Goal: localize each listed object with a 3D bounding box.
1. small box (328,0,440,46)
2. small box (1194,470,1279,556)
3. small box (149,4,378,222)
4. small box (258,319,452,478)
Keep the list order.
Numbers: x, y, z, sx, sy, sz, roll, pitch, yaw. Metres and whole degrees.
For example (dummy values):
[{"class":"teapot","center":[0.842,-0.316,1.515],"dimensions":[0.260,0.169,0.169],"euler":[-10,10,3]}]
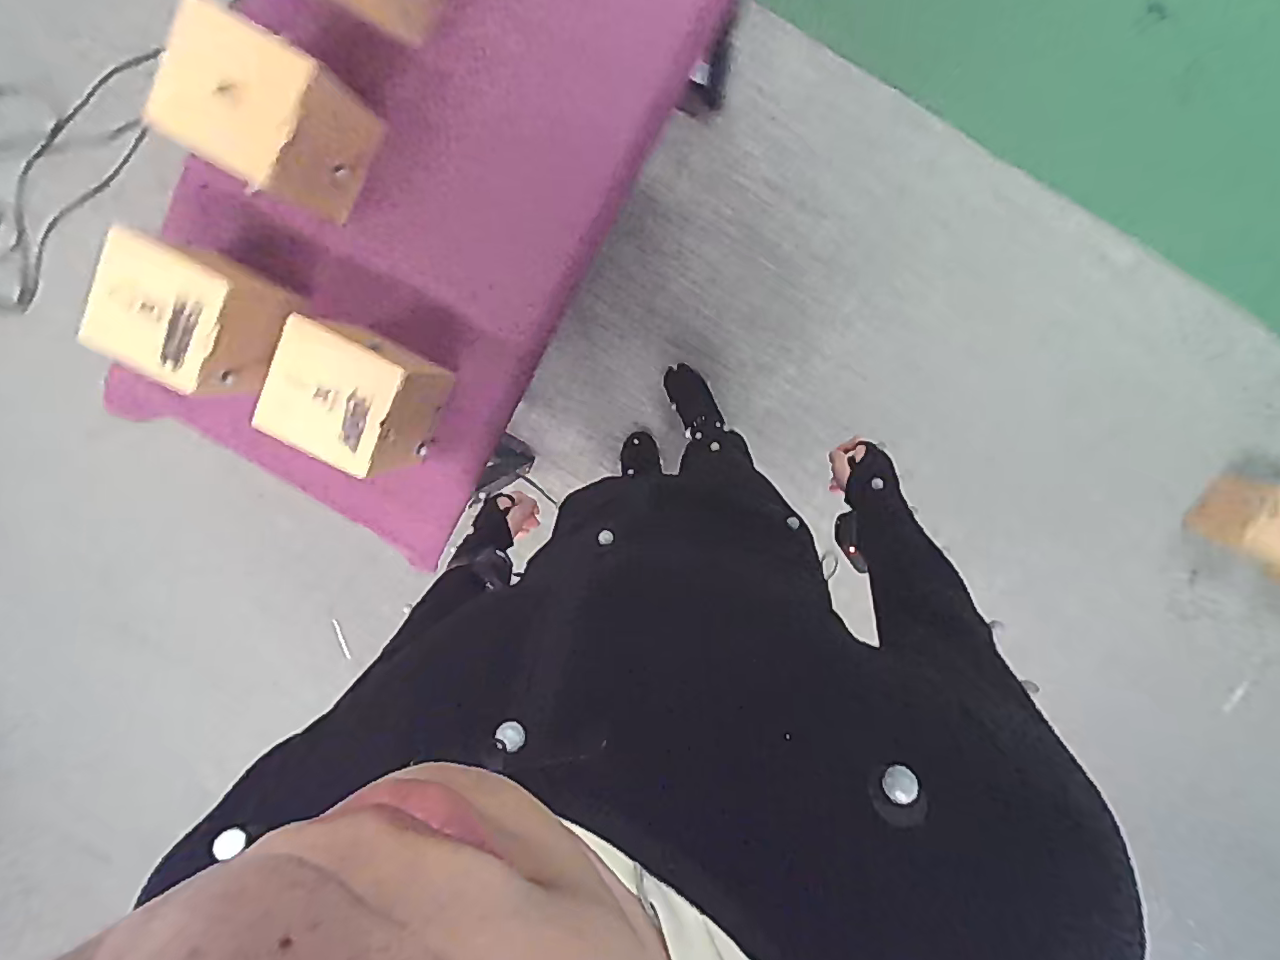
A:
[{"class":"small box","center":[-0.374,-0.733,0.712],"dimensions":[0.179,0.176,0.168],"euler":[30,101,-2]},{"class":"small box","center":[1.673,0.089,1.443],"dimensions":[0.179,0.176,0.168],"euler":[31,100,-3]},{"class":"small box","center":[-0.517,-0.497,0.766],"dimensions":[0.179,0.176,0.168],"euler":[28,101,-2]},{"class":"small box","center":[-0.417,-0.123,0.820],"dimensions":[0.179,0.176,0.168],"euler":[26,100,1]}]
